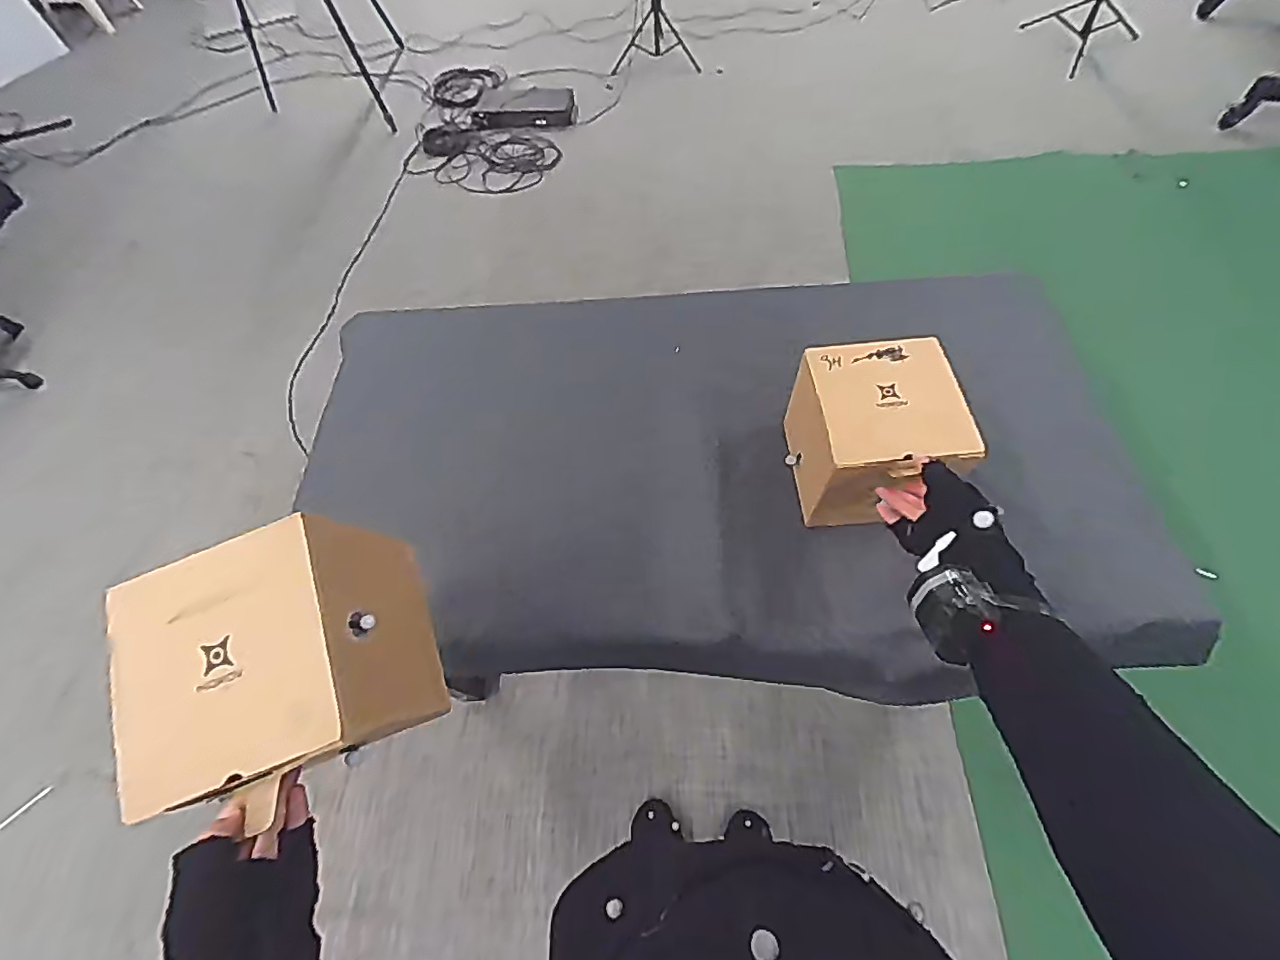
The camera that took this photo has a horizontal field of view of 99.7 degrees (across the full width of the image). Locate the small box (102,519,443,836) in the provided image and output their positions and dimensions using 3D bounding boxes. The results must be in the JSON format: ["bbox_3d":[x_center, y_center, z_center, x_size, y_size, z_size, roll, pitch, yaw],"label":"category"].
[{"bbox_3d":[-0.293,0.155,0.461,0.168,0.176,0.179,-22,72,-1],"label":"small box"}]
